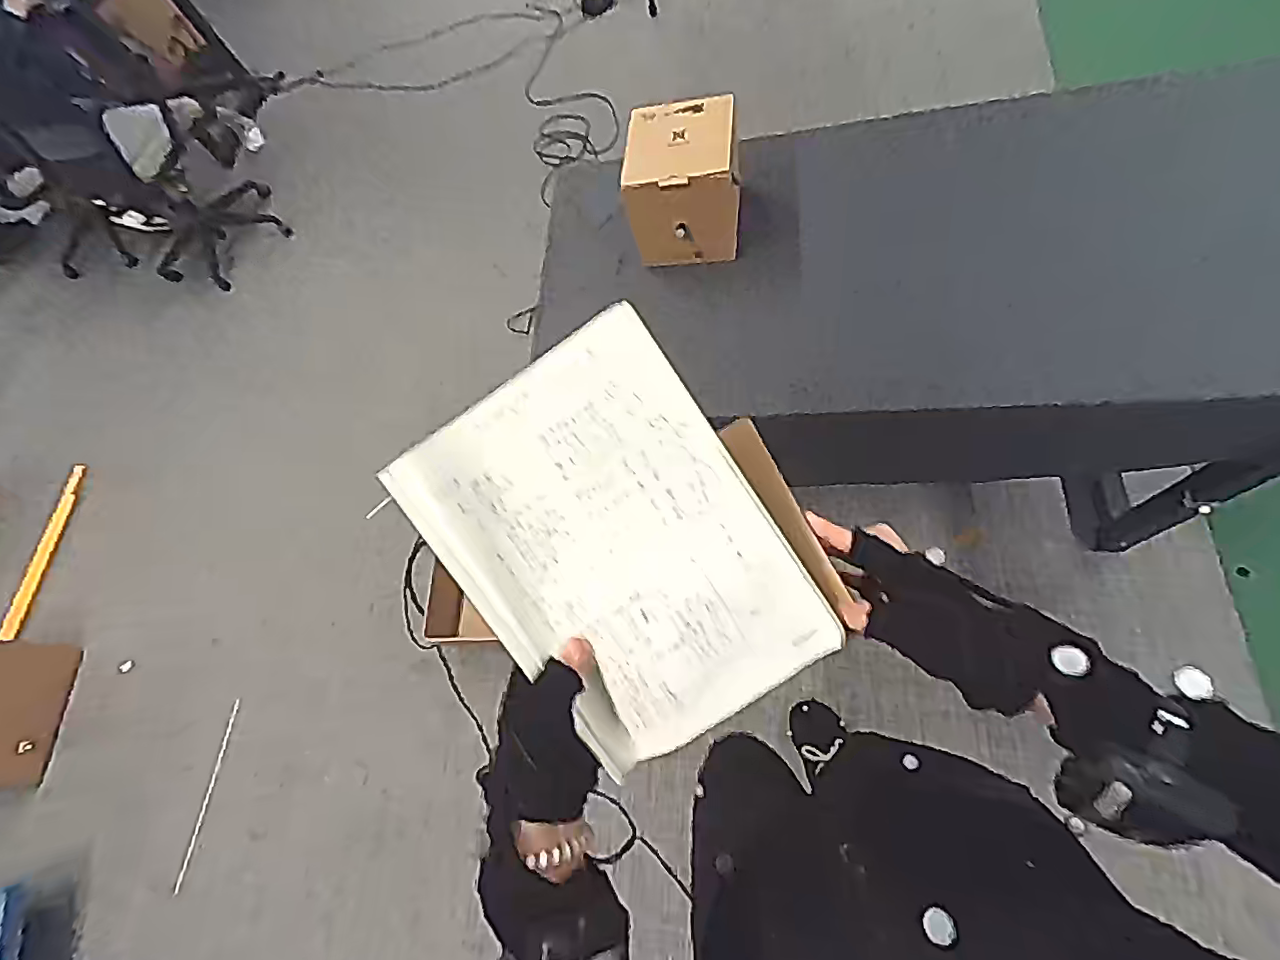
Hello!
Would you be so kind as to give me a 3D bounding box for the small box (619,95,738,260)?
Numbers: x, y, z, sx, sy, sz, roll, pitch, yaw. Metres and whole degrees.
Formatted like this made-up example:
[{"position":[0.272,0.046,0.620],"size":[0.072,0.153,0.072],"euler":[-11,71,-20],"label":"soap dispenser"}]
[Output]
[{"position":[0.073,-0.485,0.896],"size":[0.168,0.176,0.179],"euler":[1,68,14],"label":"small box"}]
